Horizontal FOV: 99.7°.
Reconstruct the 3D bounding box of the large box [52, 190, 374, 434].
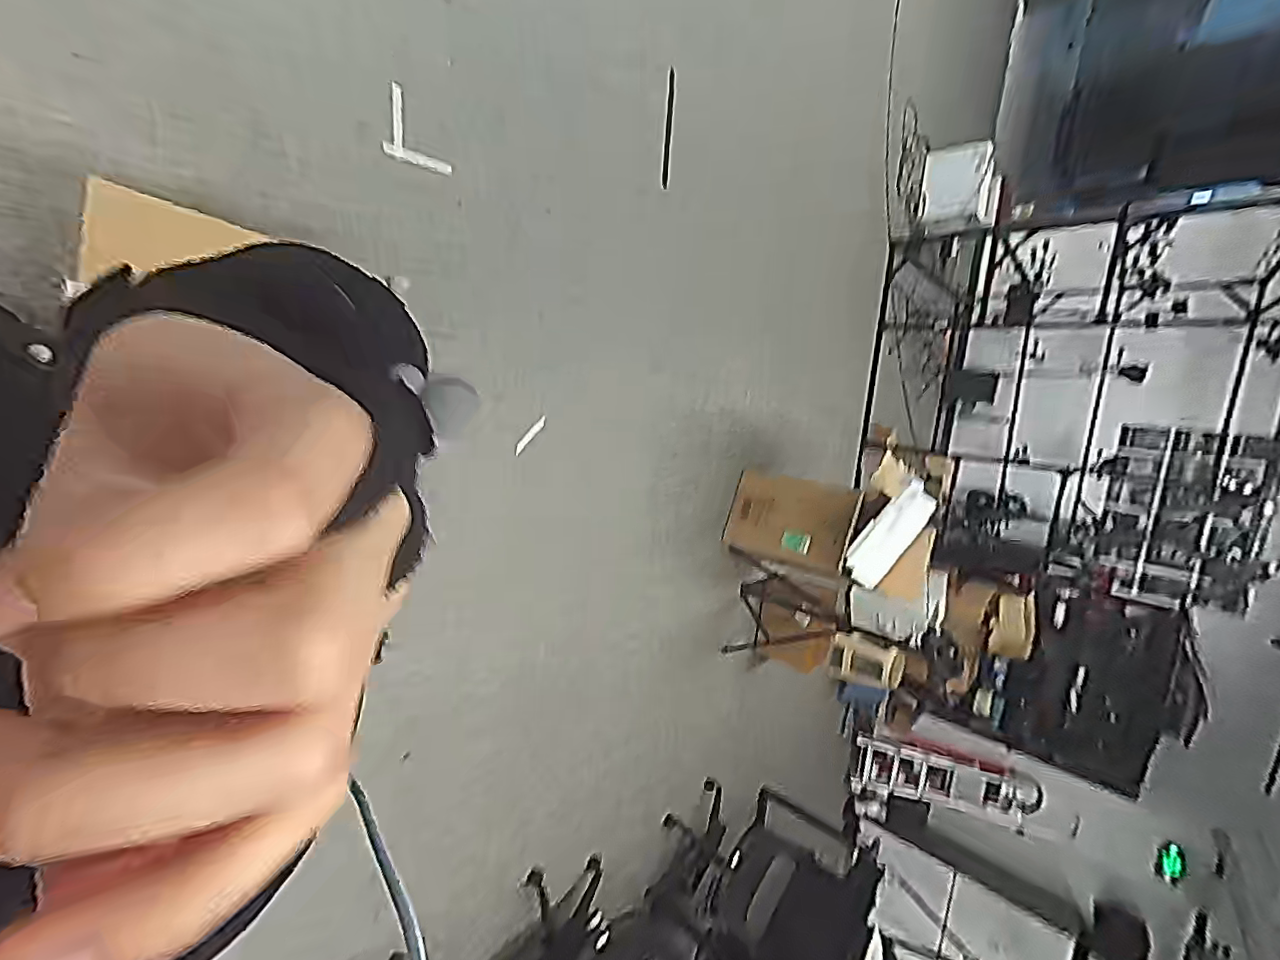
[{"bbox_3d":[-0.778,-0.270,1.001,0.408,0.320,0.320,4,96,-51],"label":"large box"}]
